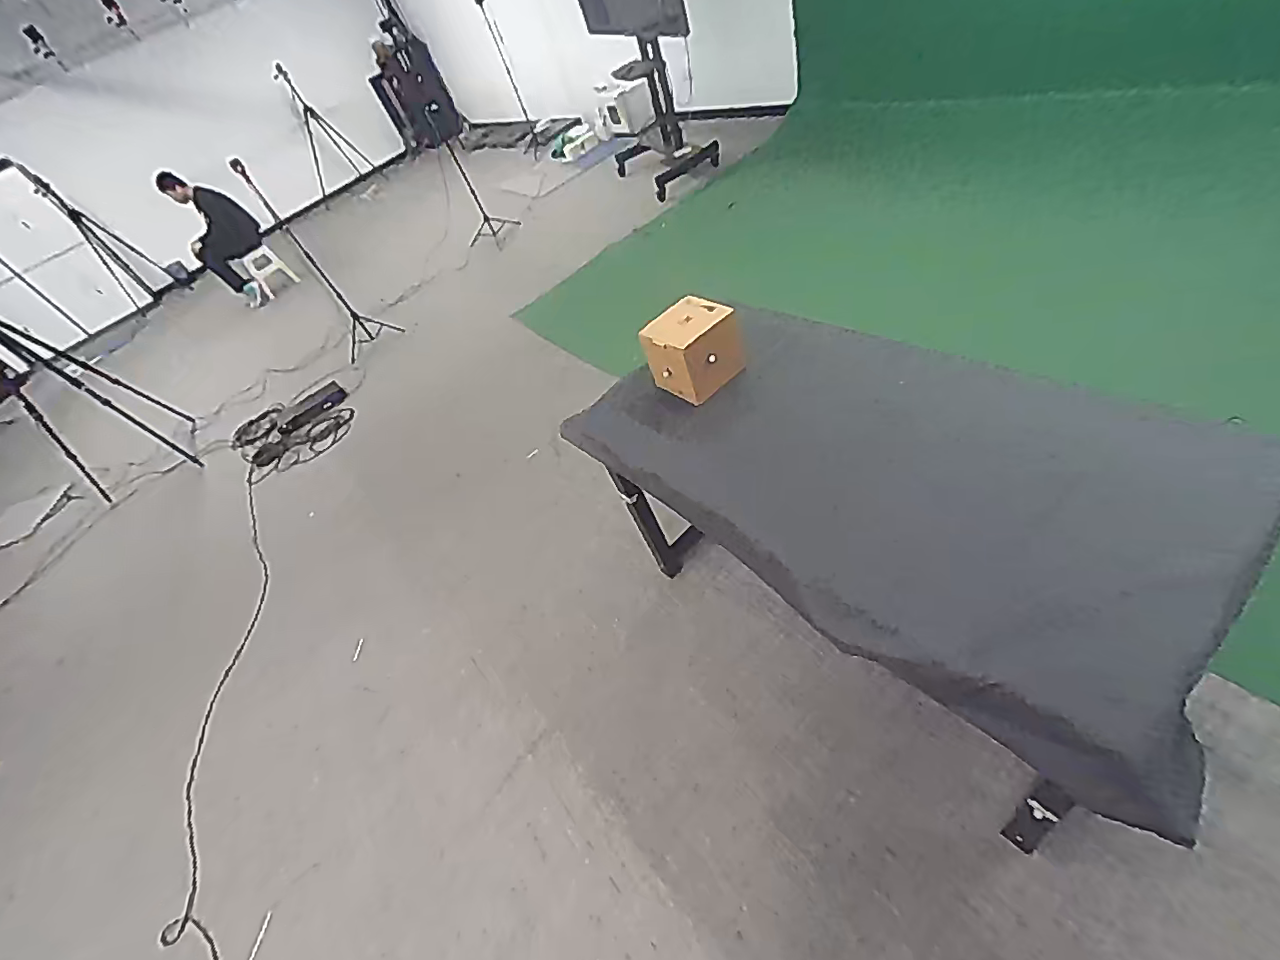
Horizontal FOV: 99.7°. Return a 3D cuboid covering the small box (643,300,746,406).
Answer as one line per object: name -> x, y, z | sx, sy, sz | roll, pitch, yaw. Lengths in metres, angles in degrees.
small box -> 0.143, -0.312, 1.341 | 0.179, 0.176, 0.168 | -41, 46, -15
